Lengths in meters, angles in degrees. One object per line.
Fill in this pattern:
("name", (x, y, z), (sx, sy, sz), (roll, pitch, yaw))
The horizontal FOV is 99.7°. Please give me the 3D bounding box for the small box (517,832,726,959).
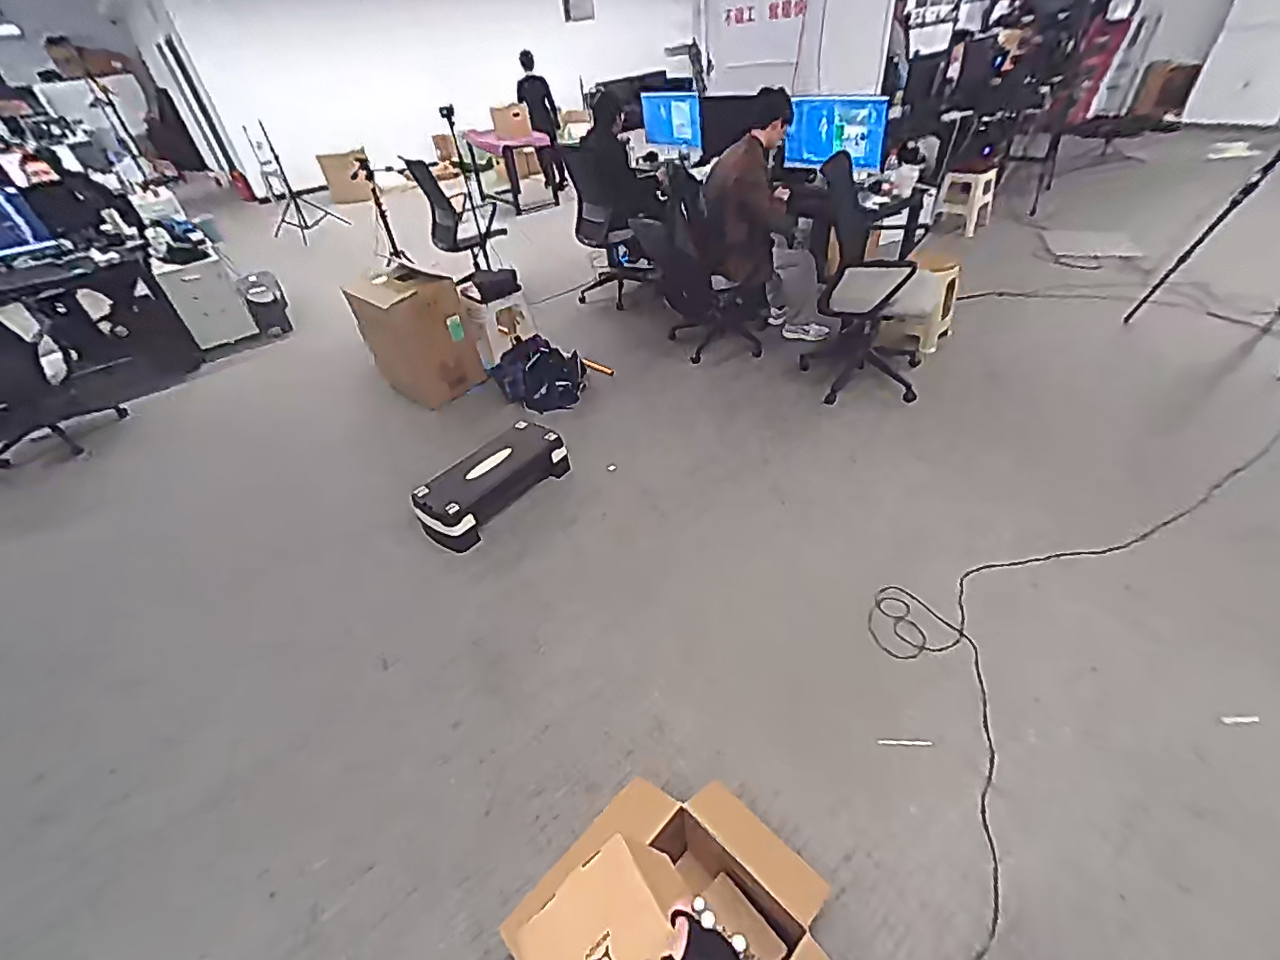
("small box", (-0.012, 0.576, 0.648), (0.168, 0.176, 0.179), (-40, 41, -10))
